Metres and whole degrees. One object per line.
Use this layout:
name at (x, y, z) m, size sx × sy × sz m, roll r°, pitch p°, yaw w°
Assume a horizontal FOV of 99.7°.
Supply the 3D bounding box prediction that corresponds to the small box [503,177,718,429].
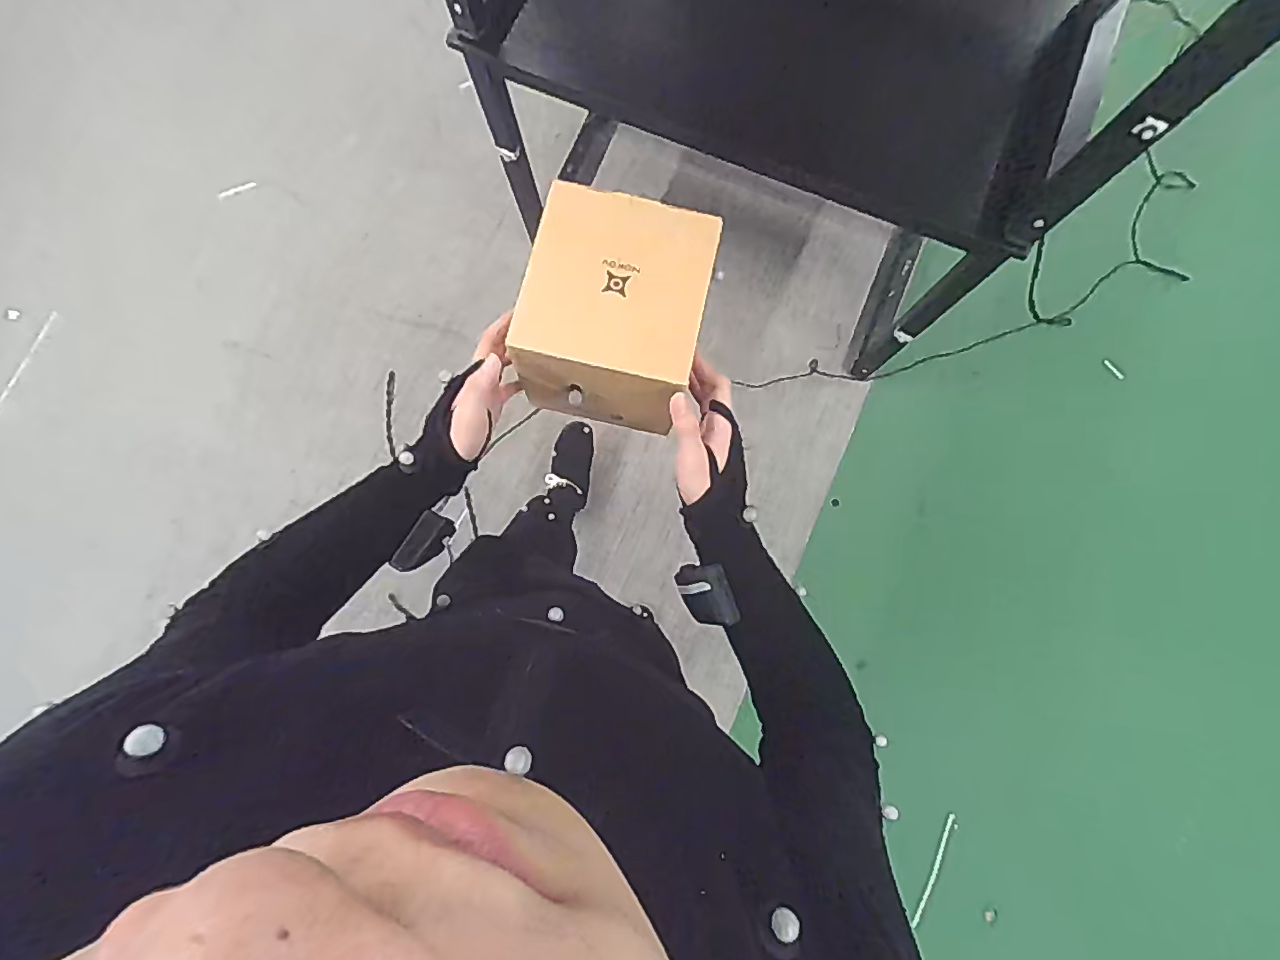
small box at (-0.027, -0.168, 0.566) m, size 0.168 × 0.176 × 0.179 m, roll 12°, pitch 78°, yaw 0°
